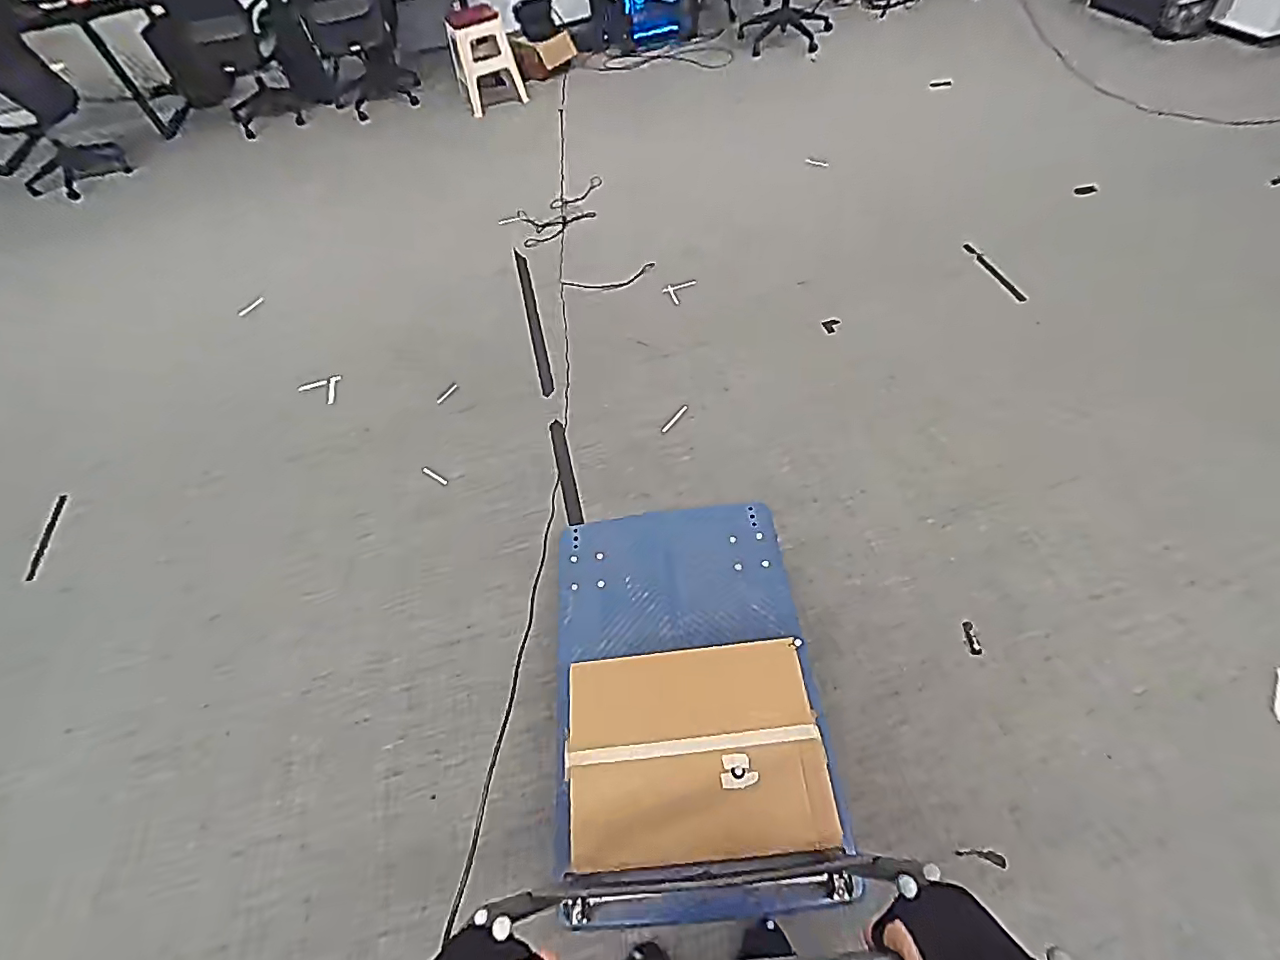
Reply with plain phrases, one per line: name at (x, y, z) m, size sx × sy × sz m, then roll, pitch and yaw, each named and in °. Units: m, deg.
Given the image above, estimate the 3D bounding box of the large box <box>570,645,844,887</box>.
large box at (0.100, 0.528, 0.990) m, size 0.408 × 0.320 × 0.320 m, roll -7°, pitch 55°, yaw 2°
